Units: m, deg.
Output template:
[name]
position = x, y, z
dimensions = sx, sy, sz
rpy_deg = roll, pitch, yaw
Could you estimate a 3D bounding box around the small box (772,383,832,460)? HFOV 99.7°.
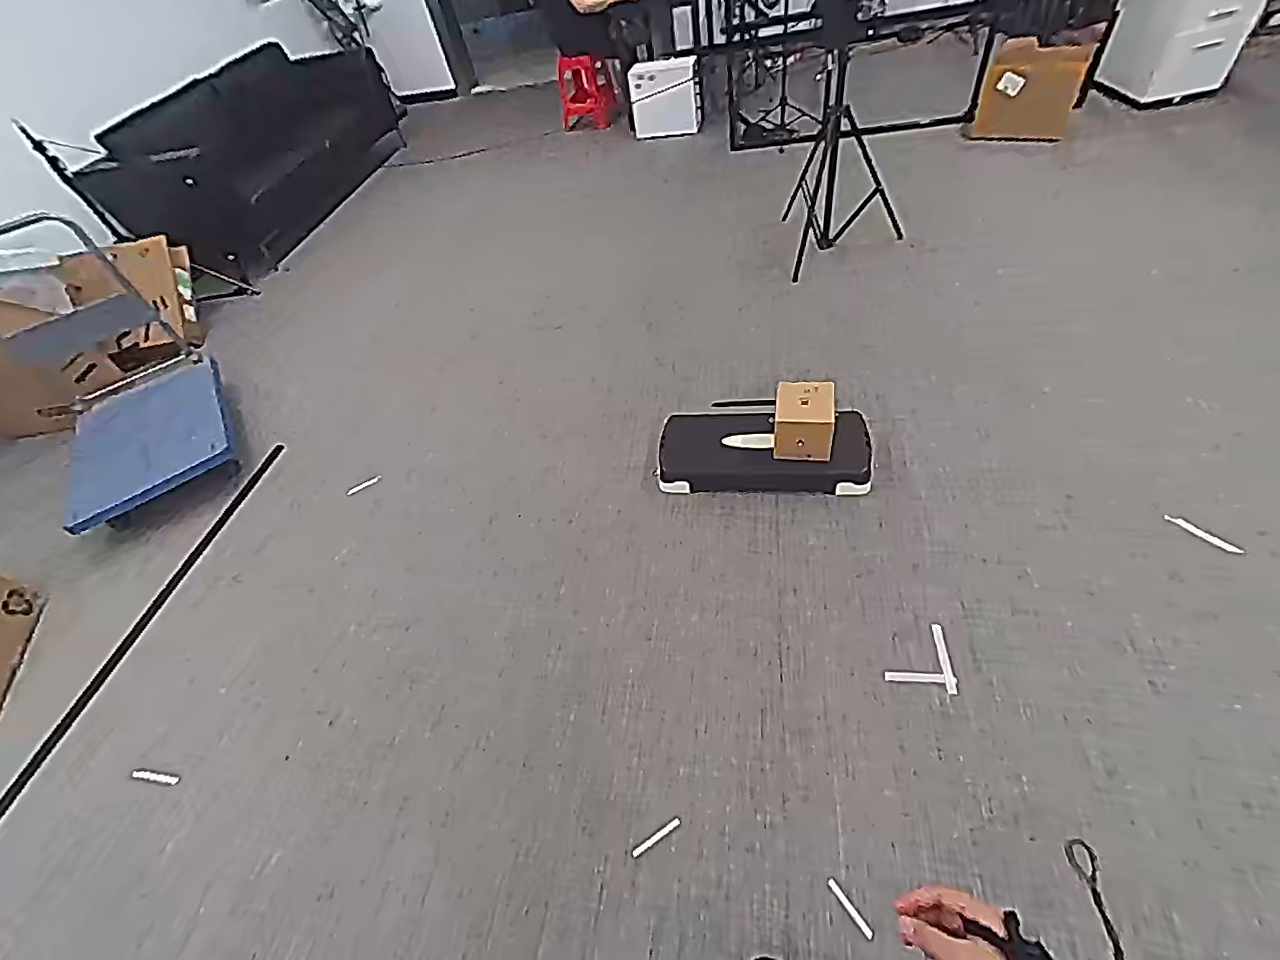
[small box]
position = 0.493, -0.177, 1.653
dimensions = 0.168, 0.176, 0.179
rpy_deg = 4, 51, 15
